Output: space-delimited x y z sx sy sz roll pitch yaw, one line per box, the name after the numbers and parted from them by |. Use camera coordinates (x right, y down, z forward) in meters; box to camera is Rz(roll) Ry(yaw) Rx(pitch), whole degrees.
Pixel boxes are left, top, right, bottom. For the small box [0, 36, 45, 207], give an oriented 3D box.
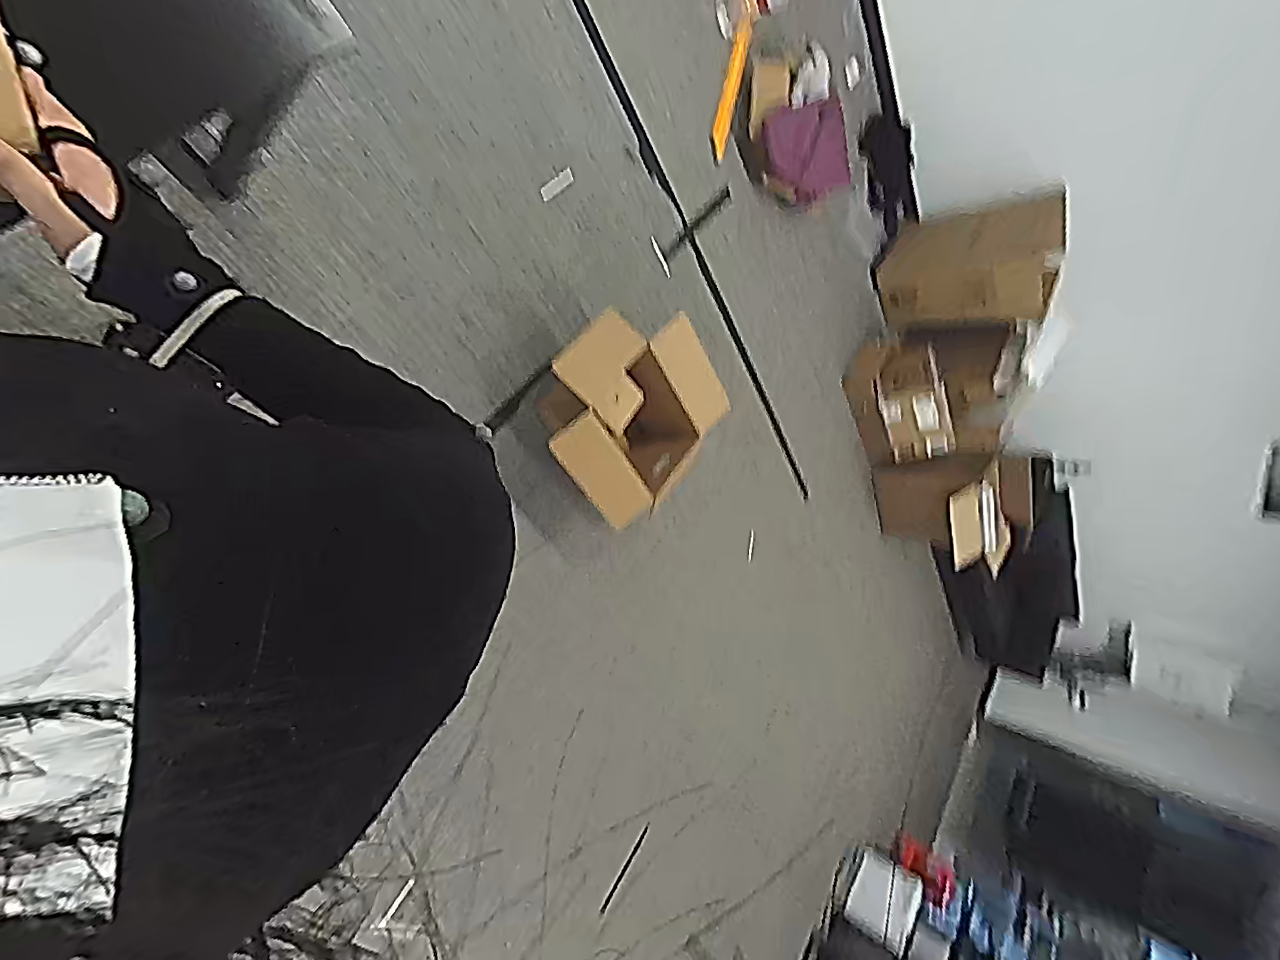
-0.510 -0.274 0.324 0.179 0.176 0.168 -18 112 -43 | small box
